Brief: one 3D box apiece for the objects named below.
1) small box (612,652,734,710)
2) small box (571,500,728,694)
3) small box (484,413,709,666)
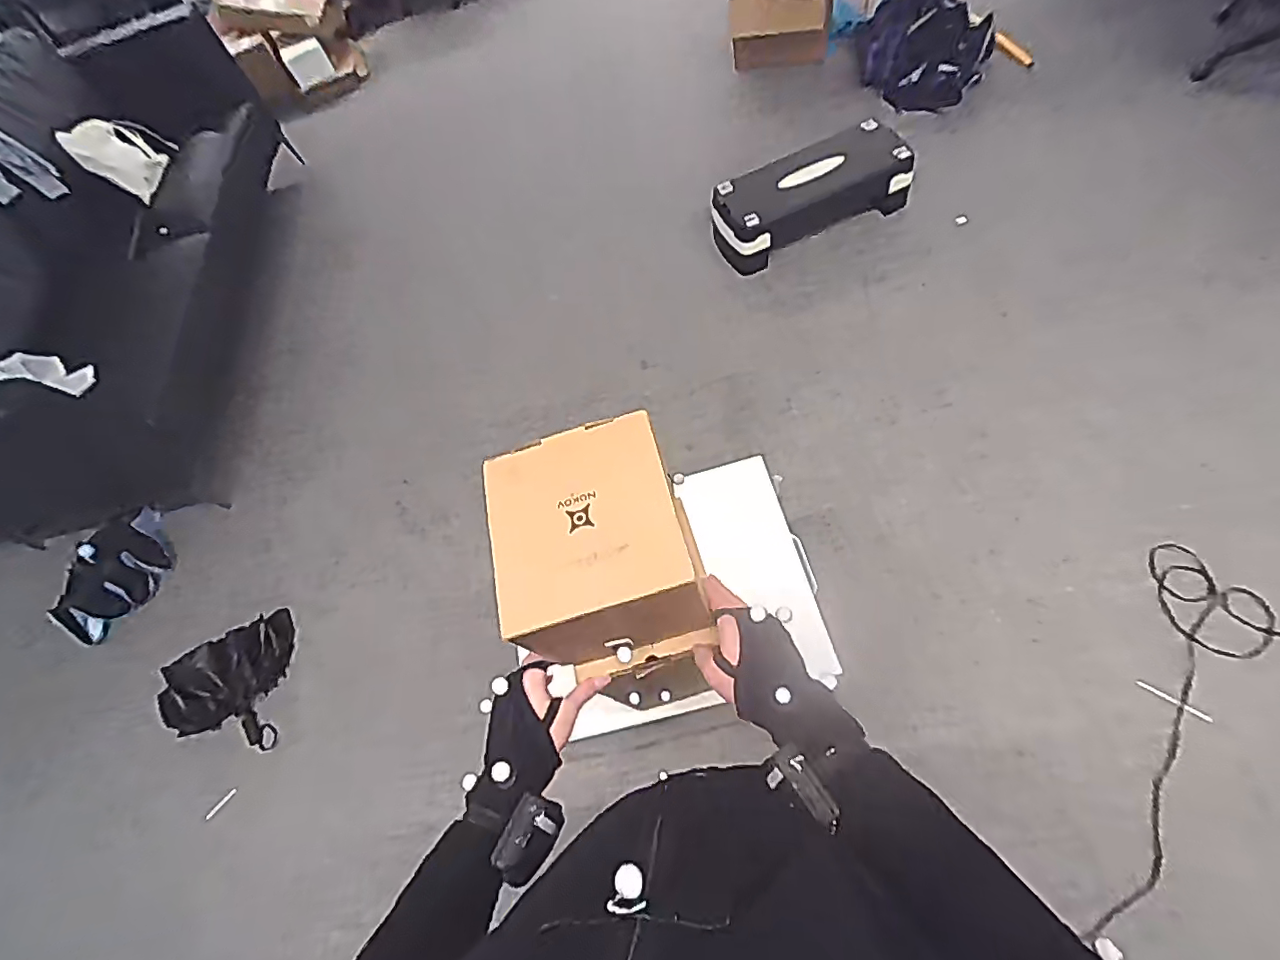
[{"bbox_3d":[0.036,0.231,0.816,0.168,0.176,0.179,-19,60,3],"label":"small box"},{"bbox_3d":[0.005,0.155,0.672,0.168,0.176,0.179,-18,60,3],"label":"small box"},{"bbox_3d":[-0.038,0.068,0.541,0.168,0.176,0.179,-18,61,3],"label":"small box"}]
